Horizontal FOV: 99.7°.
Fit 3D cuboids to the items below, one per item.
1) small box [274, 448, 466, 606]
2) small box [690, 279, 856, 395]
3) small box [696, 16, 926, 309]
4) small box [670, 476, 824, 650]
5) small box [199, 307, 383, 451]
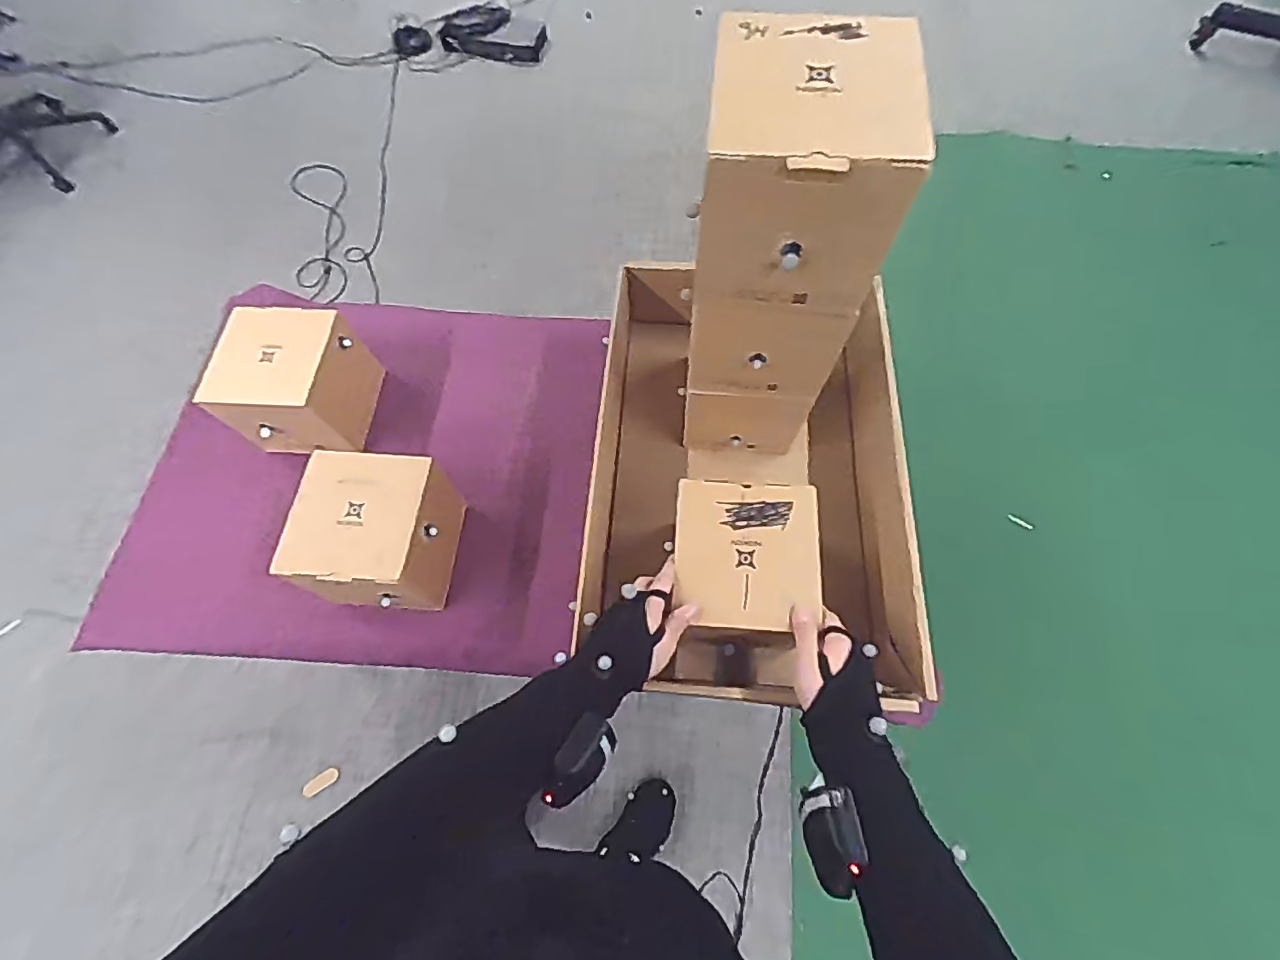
[{"bbox_3d":[-0.364,0.074,0.770,0.168,0.176,0.179,4,65,2],"label":"small box"},{"bbox_3d":[0.152,-0.221,0.655,0.168,0.176,0.179,6,68,4],"label":"small box"},{"bbox_3d":[0.143,-0.282,0.503,0.168,0.176,0.179,6,69,4],"label":"small box"},{"bbox_3d":[0.126,0.111,0.690,0.168,0.176,0.179,3,67,4],"label":"small box"},{"bbox_3d":[-0.545,-0.155,0.877,0.168,0.176,0.179,2,65,2],"label":"small box"}]
